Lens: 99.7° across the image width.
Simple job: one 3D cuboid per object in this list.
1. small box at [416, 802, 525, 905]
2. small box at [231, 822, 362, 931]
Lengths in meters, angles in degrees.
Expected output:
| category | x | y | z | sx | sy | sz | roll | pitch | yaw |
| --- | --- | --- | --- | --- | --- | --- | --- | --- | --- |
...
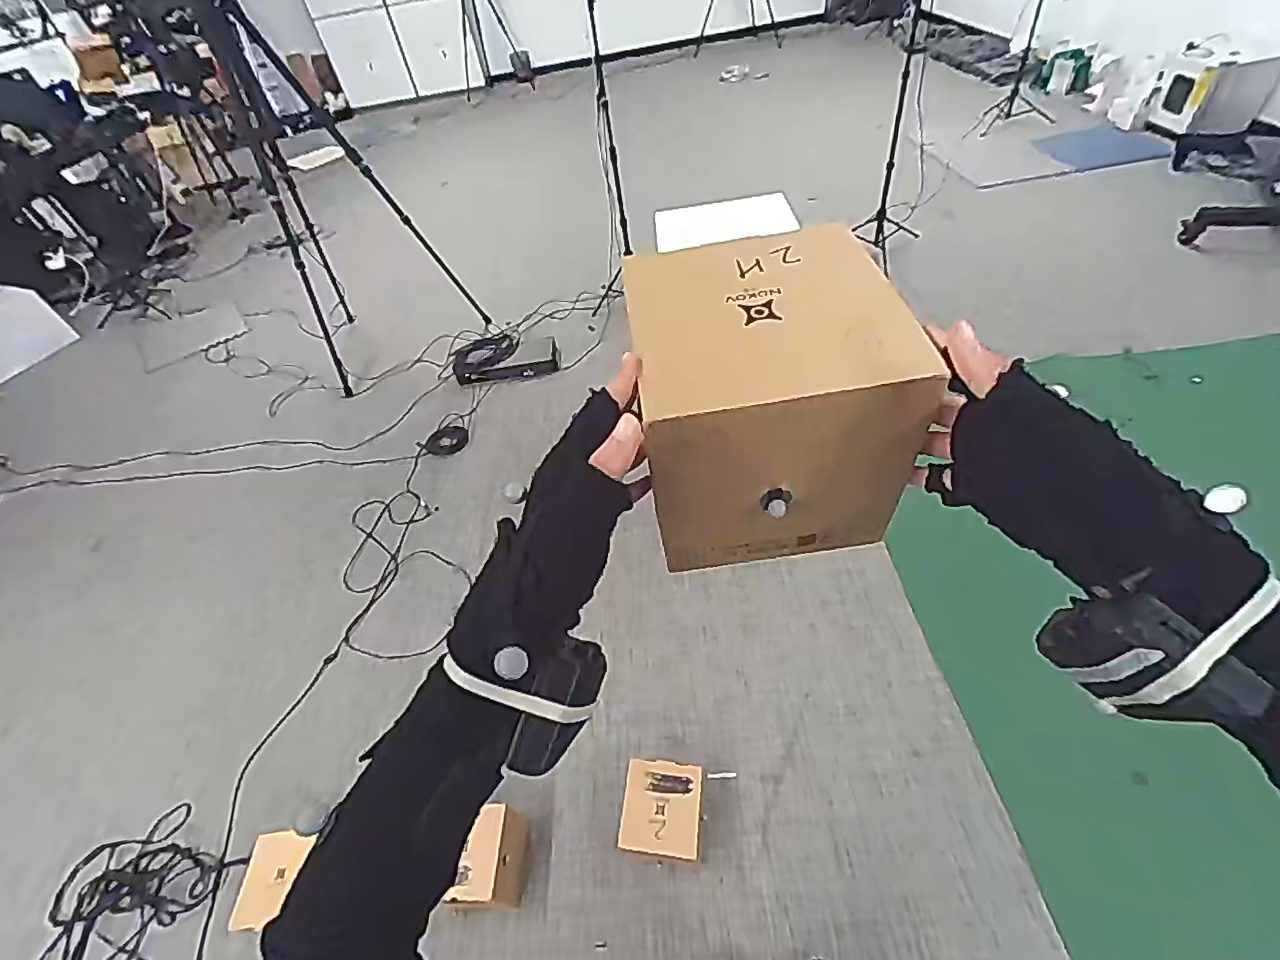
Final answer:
| category | x | y | z | sx | sy | sz | roll | pitch | yaw |
| --- | --- | --- | --- | --- | --- | --- | --- | --- | --- |
| small box | -0.368 | 0.840 | 1.213 | 0.168 | 0.176 | 0.179 | -5 | 47 | 6 |
| small box | -0.766 | 0.904 | 1.232 | 0.168 | 0.176 | 0.179 | -9 | 48 | 3 |
